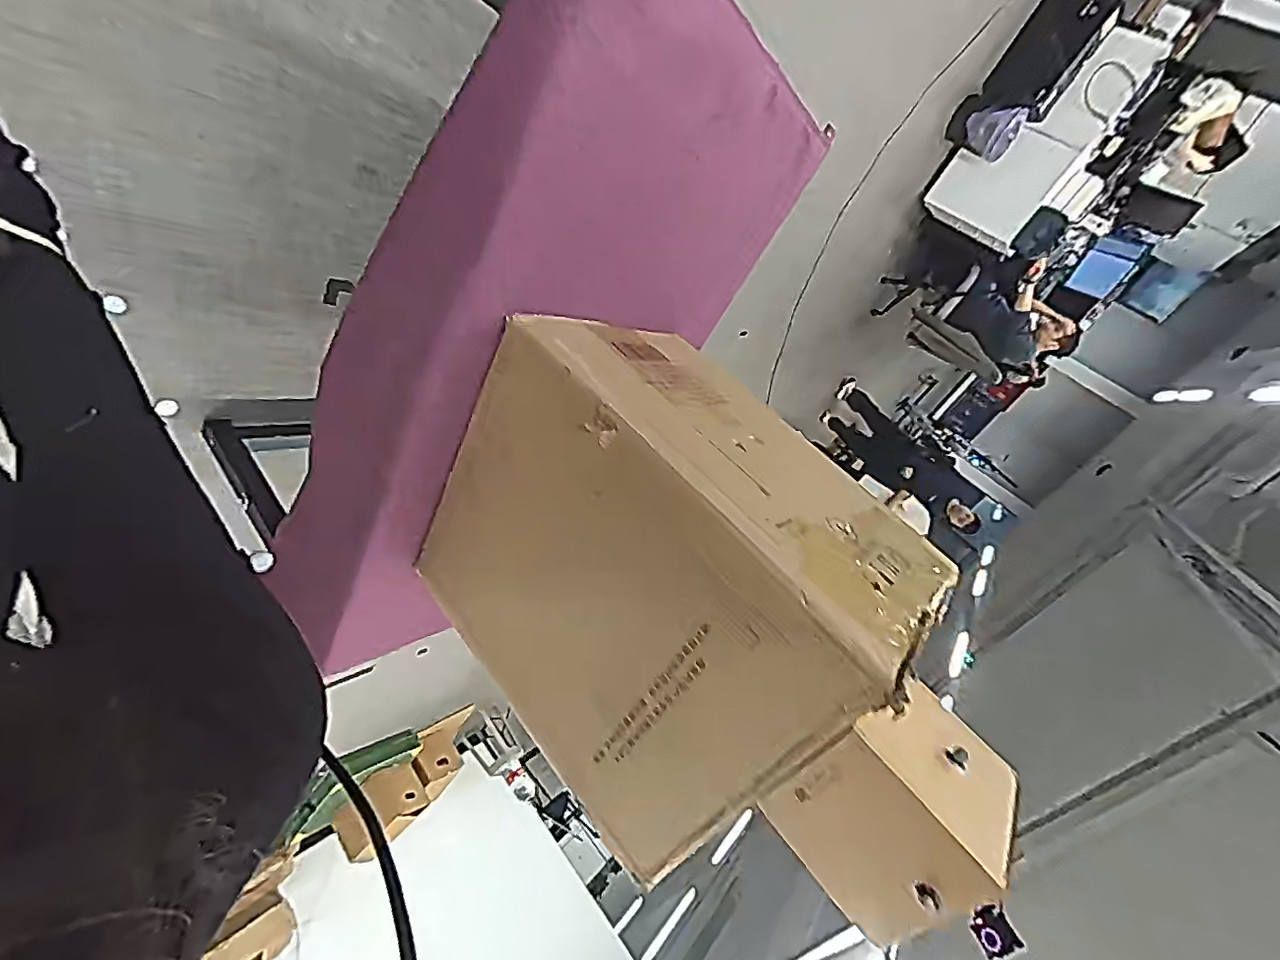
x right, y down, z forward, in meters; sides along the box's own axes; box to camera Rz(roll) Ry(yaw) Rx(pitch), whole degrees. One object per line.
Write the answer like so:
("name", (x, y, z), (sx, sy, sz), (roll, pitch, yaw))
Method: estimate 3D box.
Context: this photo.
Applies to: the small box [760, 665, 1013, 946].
("small box", (0.267, 0.337, 0.593), (0.179, 0.176, 0.168), (-14, 144, -52))
